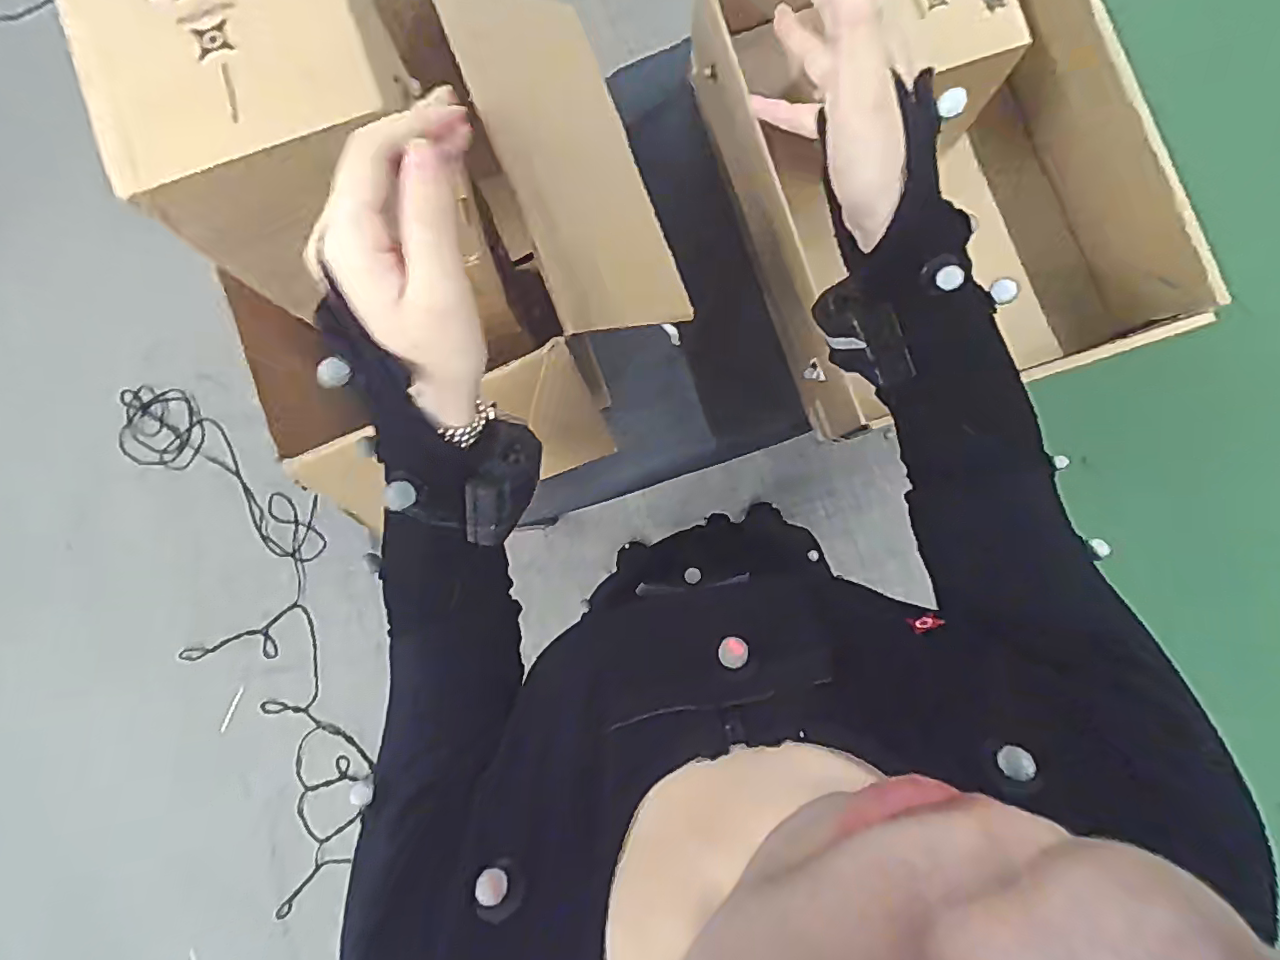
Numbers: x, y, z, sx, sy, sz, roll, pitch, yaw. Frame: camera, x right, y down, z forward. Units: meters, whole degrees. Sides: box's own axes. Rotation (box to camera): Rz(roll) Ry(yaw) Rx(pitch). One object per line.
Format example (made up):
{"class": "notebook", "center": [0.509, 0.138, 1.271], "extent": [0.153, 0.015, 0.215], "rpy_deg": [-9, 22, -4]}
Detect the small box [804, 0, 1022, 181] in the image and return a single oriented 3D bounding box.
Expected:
{"class": "small box", "center": [0.314, -0.511, 0.669], "extent": [0.179, 0.176, 0.168], "rpy_deg": [-17, 86, 5]}

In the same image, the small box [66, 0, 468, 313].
{"class": "small box", "center": [-0.253, -0.258, 0.405], "extent": [0.168, 0.176, 0.179], "rpy_deg": [-20, 84, -2]}
